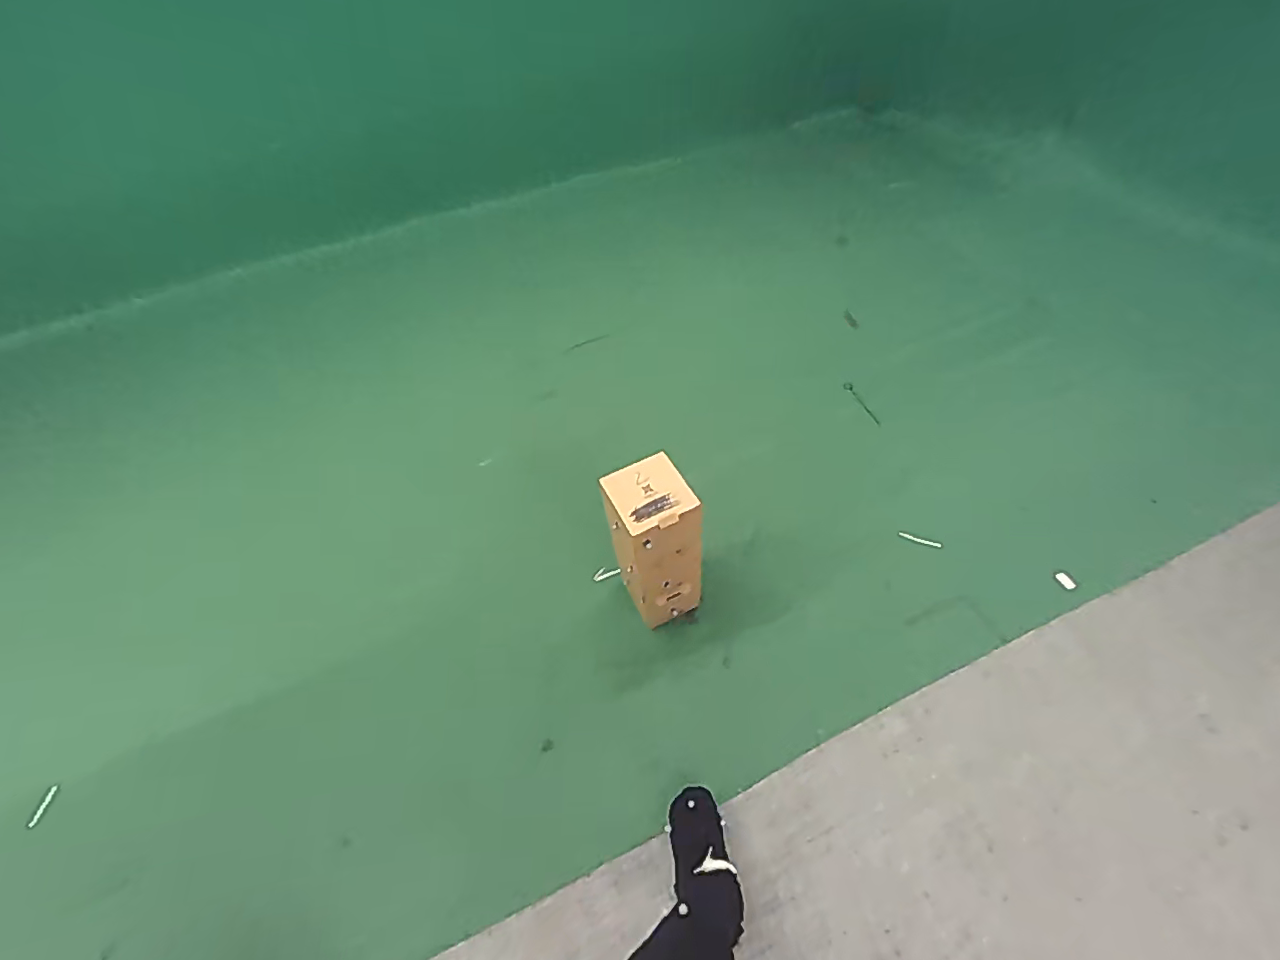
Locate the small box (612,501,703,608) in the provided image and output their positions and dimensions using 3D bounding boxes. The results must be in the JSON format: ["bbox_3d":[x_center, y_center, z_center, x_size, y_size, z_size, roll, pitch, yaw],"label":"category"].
[{"bbox_3d":[0.044,0.190,1.367,0.168,0.176,0.179,-24,55,-13],"label":"small box"}]

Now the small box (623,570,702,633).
[{"bbox_3d":[0.059,0.289,1.495,0.168,0.176,0.179,-23,53,-11],"label":"small box"}]
